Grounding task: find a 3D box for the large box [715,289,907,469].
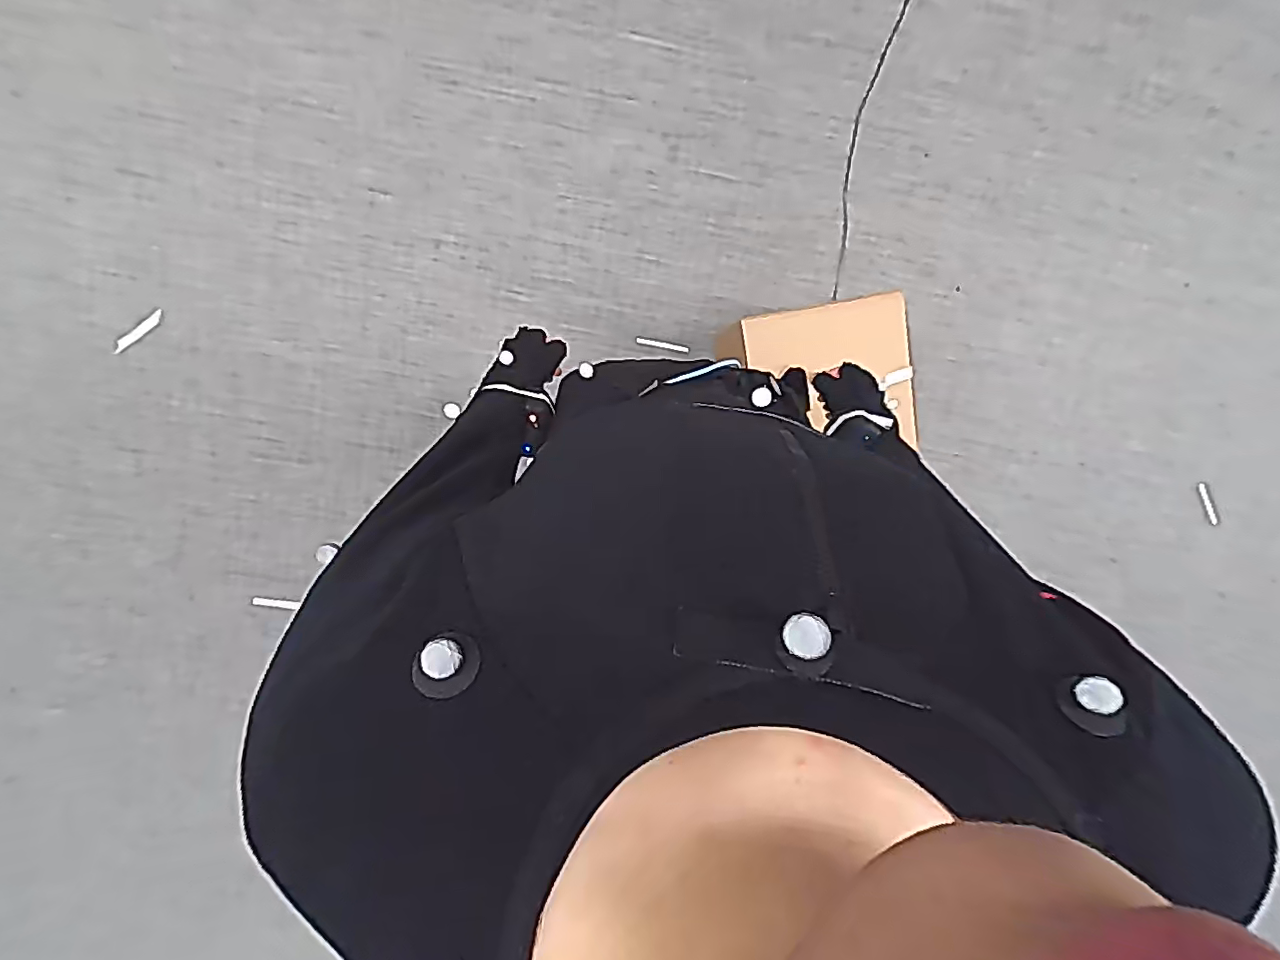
[{"bbox_3d":[0.368,-0.228,1.252,0.320,0.408,0.320,-9,101,4],"label":"large box"}]
